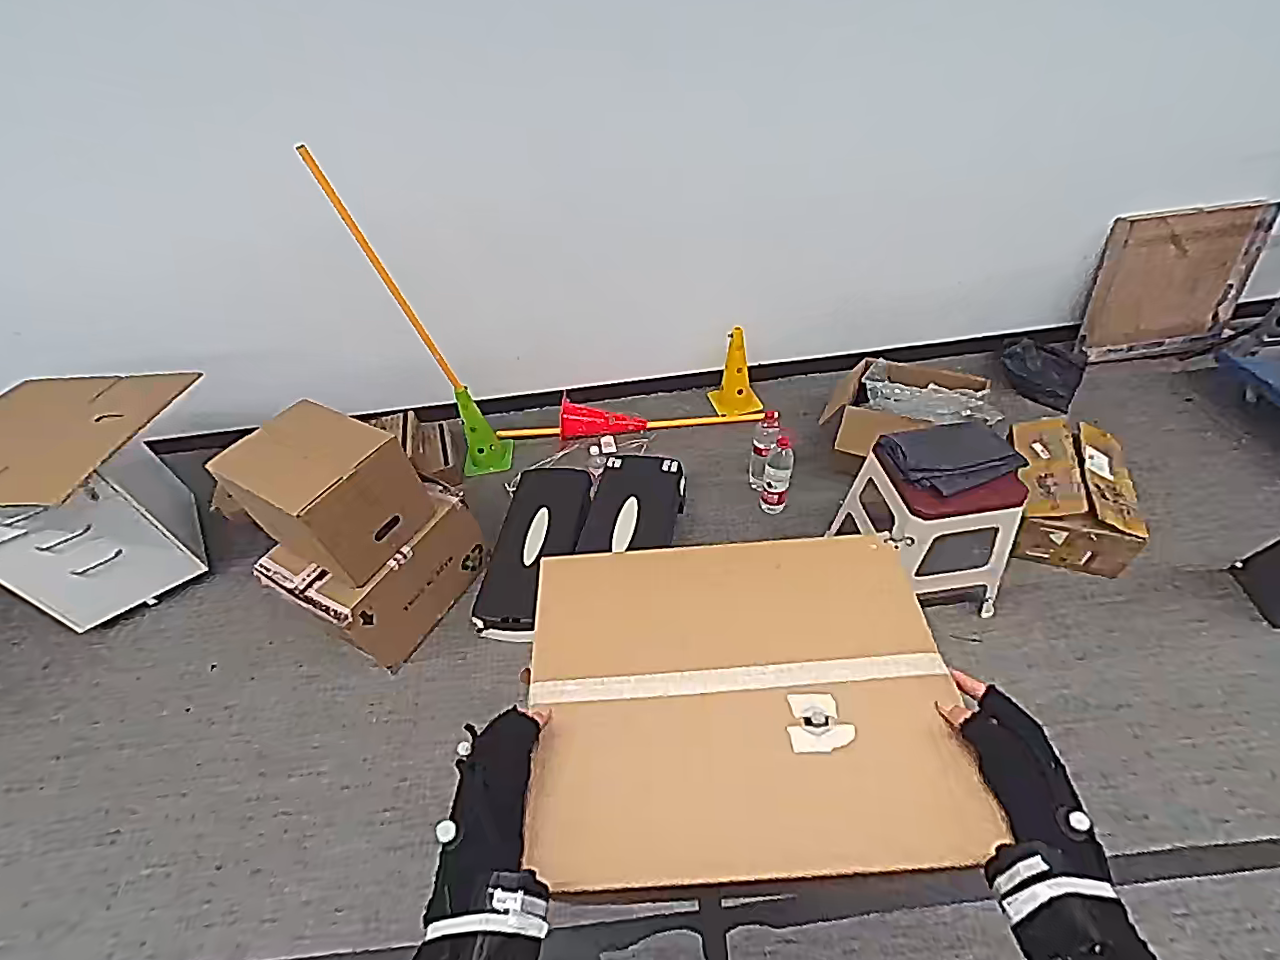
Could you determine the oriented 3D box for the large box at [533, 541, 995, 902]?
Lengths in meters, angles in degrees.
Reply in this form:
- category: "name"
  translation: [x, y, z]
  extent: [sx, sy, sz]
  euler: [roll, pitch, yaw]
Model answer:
- category: "large box"
  translation: [0.102, 0.300, 0.663]
  extent: [0.408, 0.320, 0.320]
  euler: [-4, 51, 0]
